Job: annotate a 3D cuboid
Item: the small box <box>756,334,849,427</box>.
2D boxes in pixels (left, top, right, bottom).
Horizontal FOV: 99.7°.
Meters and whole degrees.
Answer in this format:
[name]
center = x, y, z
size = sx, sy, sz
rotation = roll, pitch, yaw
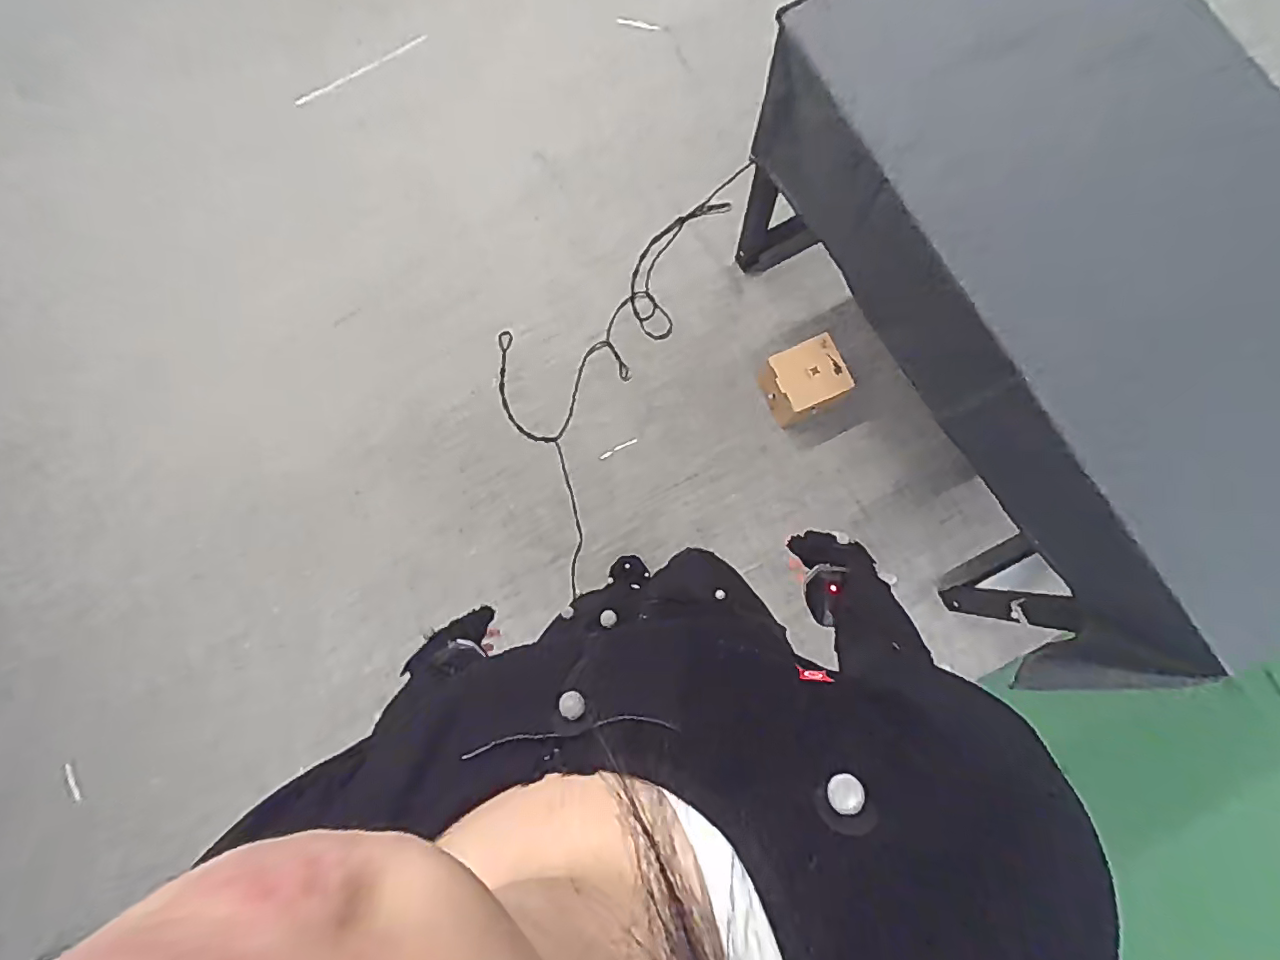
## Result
[small box]
center = 0.429, -0.261, 1.467
size = 0.179, 0.176, 0.168
rotation = -24, 81, -2
